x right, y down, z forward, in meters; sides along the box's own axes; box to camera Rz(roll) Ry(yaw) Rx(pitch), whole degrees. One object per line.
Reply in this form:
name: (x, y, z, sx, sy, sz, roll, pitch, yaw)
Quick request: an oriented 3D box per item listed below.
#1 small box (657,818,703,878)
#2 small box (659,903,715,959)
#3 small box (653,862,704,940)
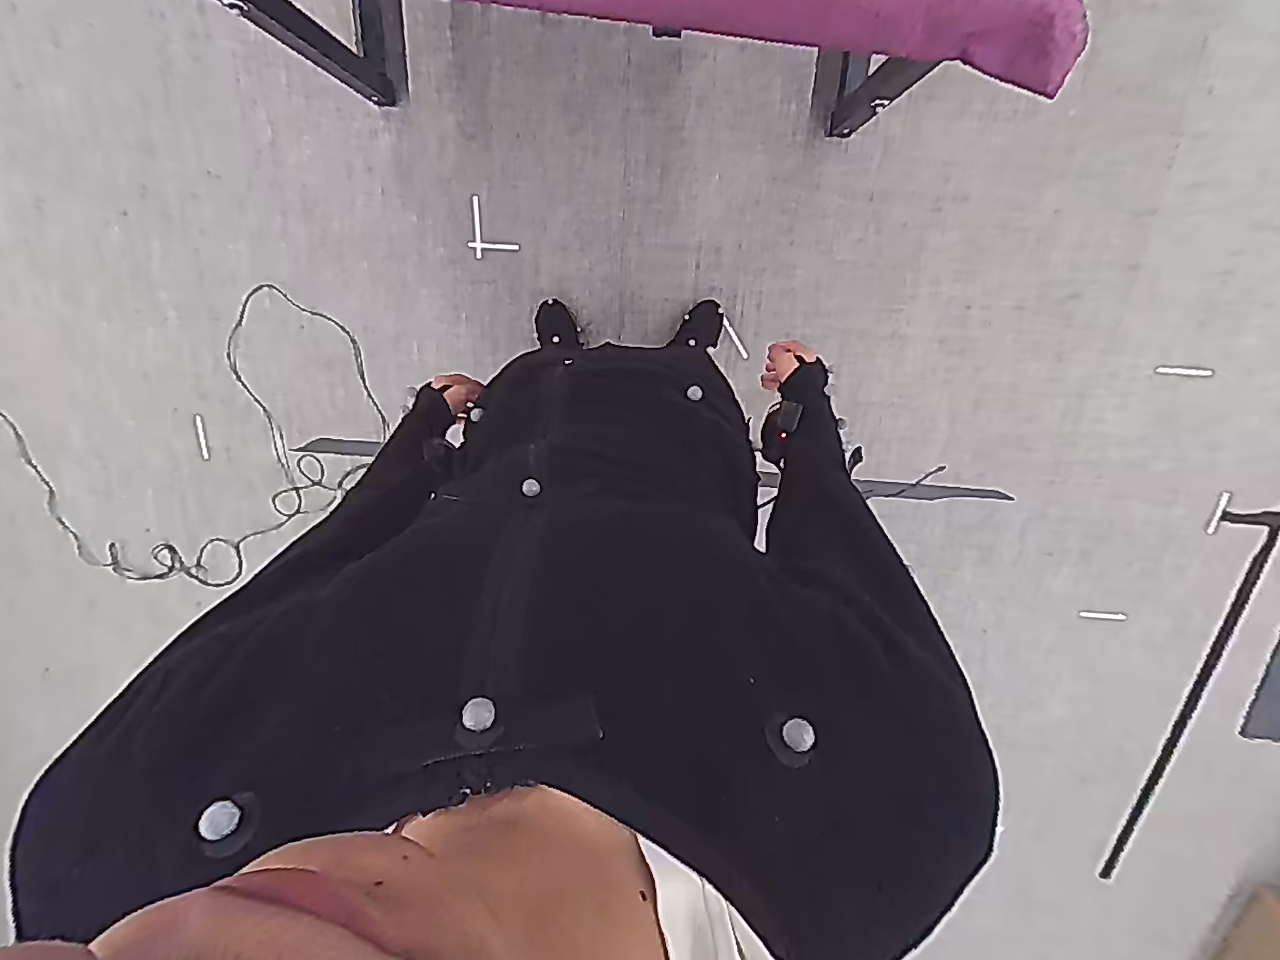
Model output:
small box: (0.153, 1.457, 2.104, 0.168, 0.176, 0.179, 0, 109, 1)
small box: (0.151, 1.549, 1.788, 0.168, 0.176, 0.179, 2, 109, -1)
small box: (0.137, 1.515, 1.951, 0.179, 0.176, 0.168, -1, 110, 1)
